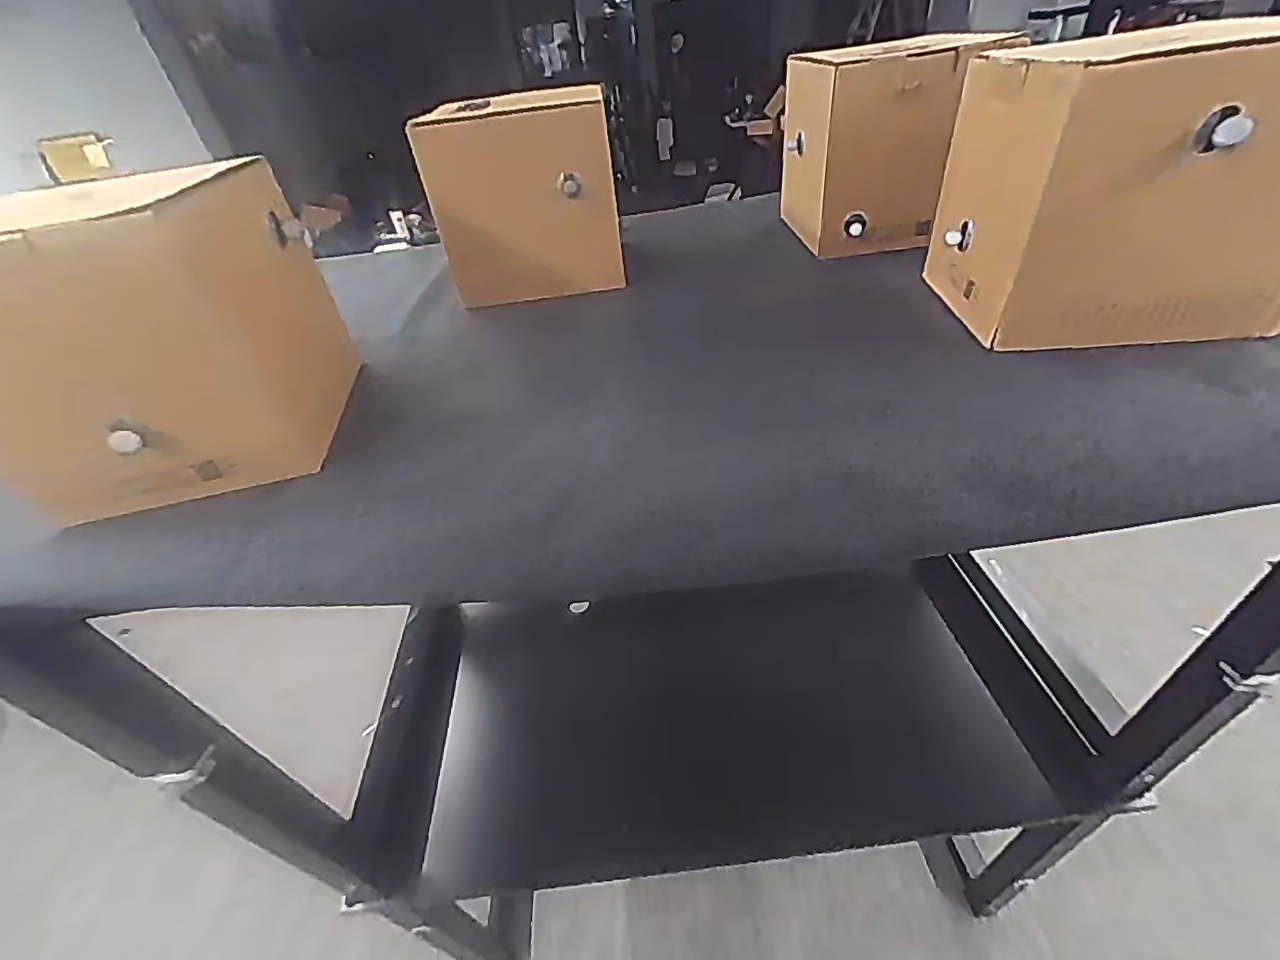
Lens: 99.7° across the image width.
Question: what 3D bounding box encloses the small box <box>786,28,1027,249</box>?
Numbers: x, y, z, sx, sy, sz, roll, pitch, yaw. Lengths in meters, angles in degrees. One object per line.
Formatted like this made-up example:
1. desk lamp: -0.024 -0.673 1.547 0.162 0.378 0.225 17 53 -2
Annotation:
1. small box: 0.257 -0.356 0.574 0.168 0.176 0.179 -6 39 3

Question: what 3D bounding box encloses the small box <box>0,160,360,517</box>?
1. small box: -0.319 -0.102 0.372 0.168 0.176 0.179 -13 40 -5

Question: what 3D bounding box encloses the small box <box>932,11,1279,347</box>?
1. small box: 0.334 -0.206 0.378 0.179 0.176 0.168 -2 38 9
